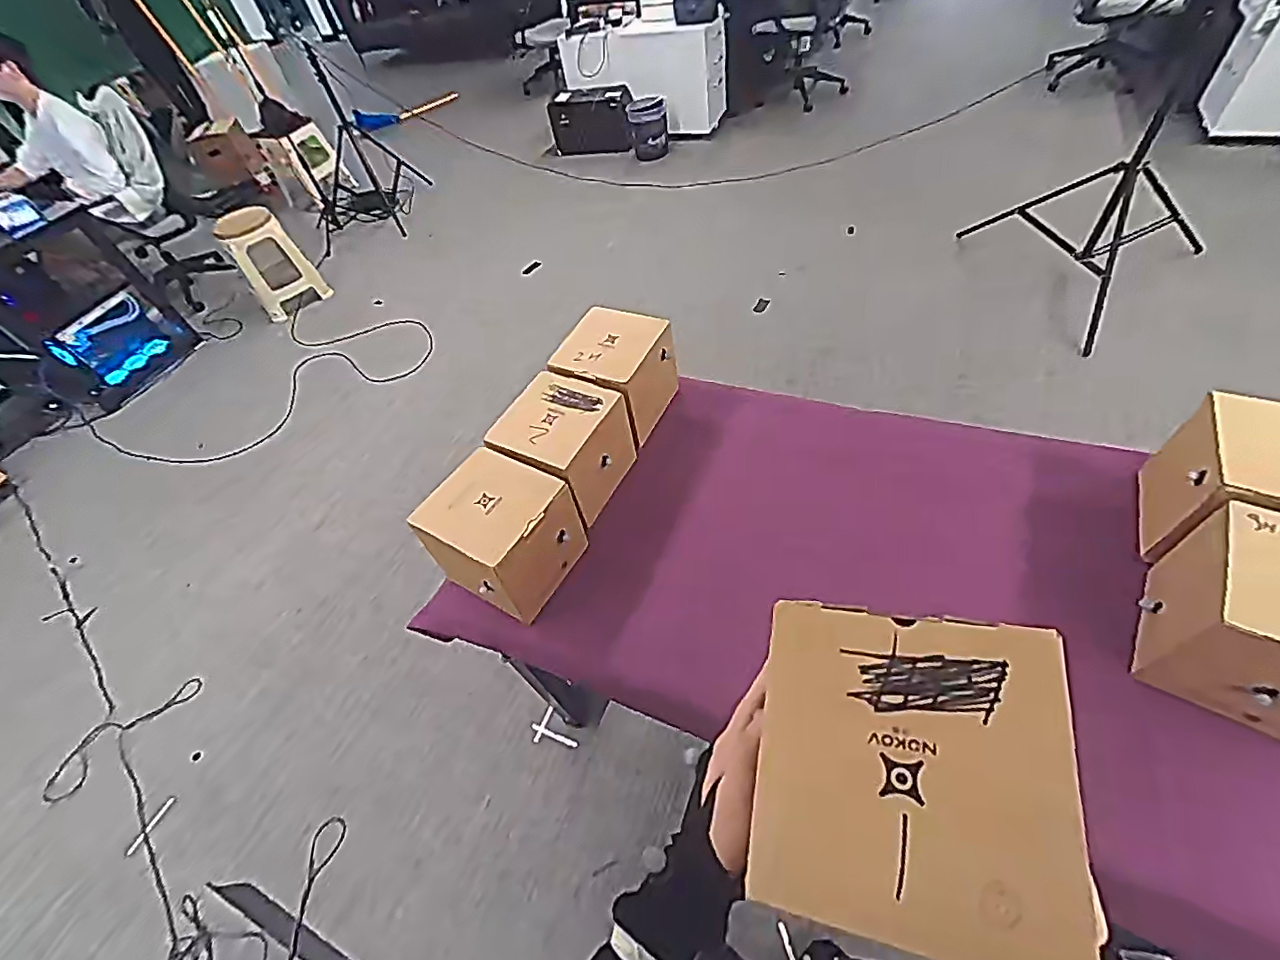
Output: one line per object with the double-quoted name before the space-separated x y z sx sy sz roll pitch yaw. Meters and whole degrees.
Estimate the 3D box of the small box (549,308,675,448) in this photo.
"small box" -0.042 -0.193 1.024 0.168 0.176 0.179 18 58 23

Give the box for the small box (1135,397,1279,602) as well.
"small box" 0.791 0.026 0.704 0.168 0.176 0.179 18 56 22

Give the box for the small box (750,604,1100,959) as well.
"small box" 0.182 0.204 0.378 0.168 0.176 0.179 1 62 24
